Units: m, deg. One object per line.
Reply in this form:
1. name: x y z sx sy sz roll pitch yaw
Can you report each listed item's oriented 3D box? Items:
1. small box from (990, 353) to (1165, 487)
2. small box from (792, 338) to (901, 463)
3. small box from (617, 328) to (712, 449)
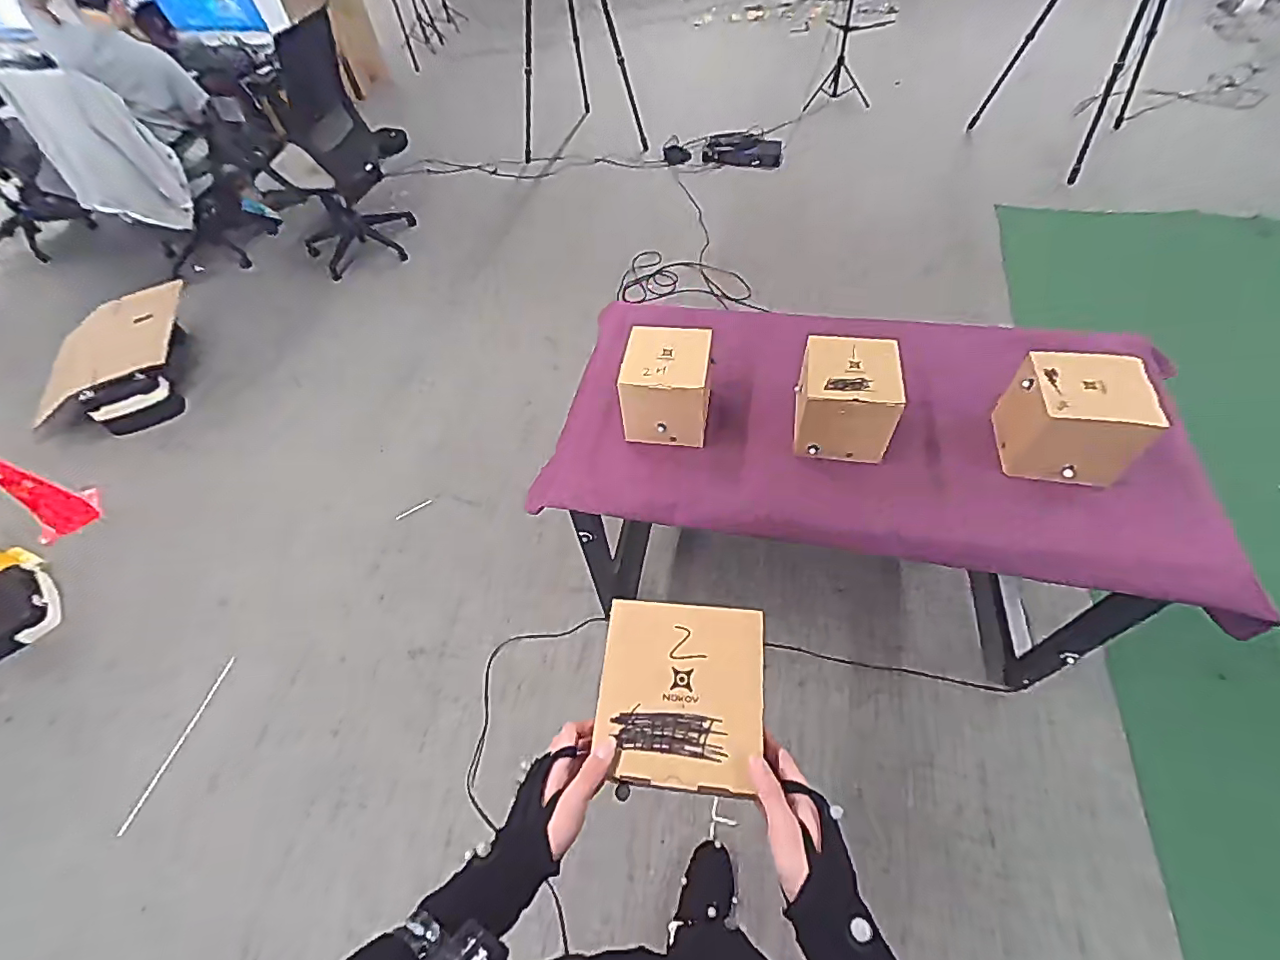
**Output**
1. small box: 0.776 -0.105 0.983 0.179 0.176 0.168 8 54 11
2. small box: 0.395 -0.153 1.057 0.168 0.176 0.179 6 54 10
3. small box: 0.055 -0.189 1.116 0.168 0.176 0.179 5 54 10
